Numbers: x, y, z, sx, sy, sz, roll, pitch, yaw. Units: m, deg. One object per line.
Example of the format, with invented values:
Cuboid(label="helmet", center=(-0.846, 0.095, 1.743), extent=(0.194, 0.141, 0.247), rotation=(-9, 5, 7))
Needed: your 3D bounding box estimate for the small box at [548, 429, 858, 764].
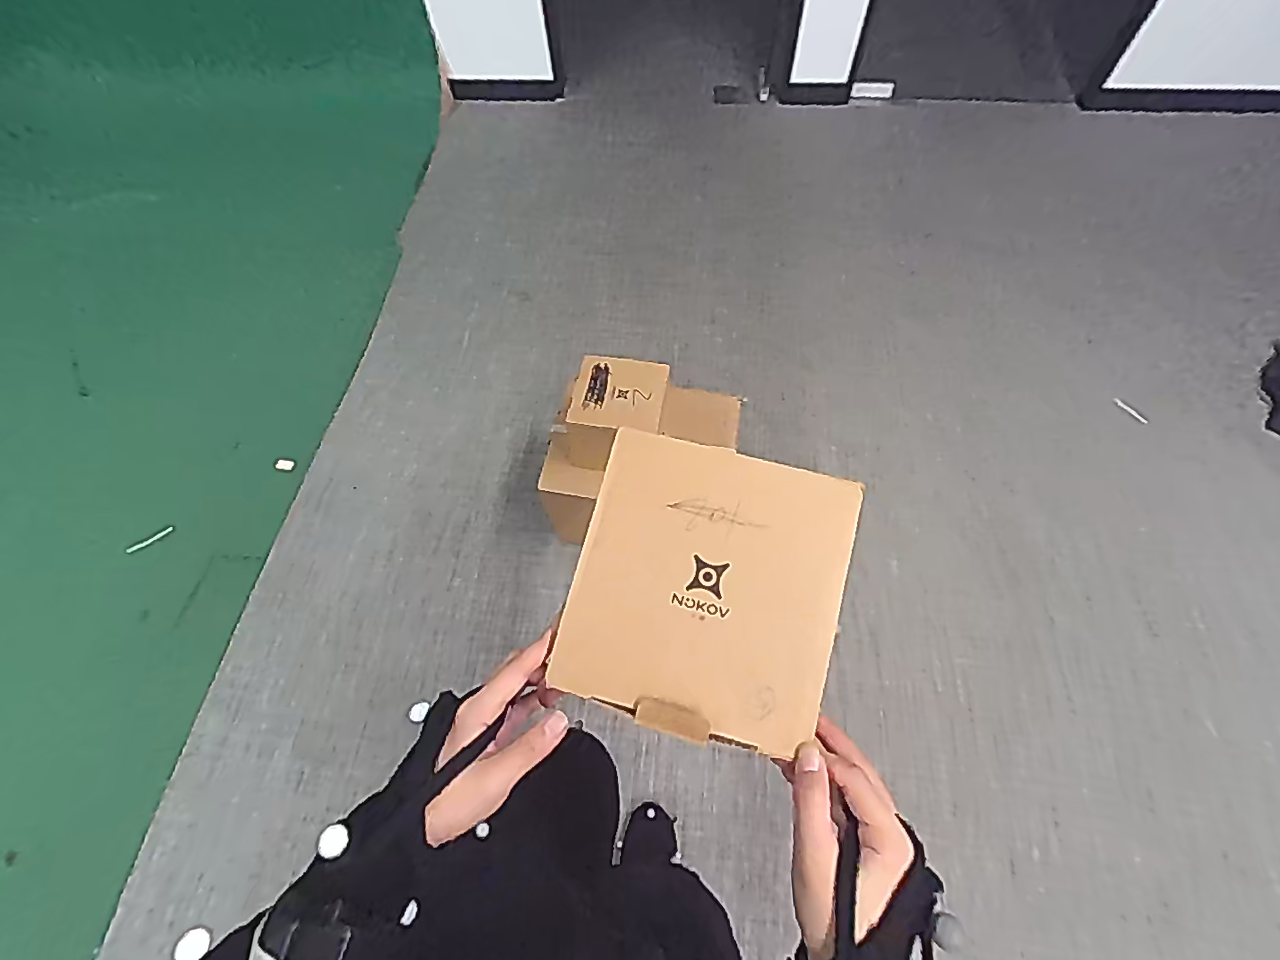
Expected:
Cuboid(label="small box", center=(0.047, 0.084, 0.417), extent=(0.168, 0.176, 0.179), rotation=(14, 77, 6))

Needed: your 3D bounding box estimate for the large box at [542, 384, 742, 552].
Cuboid(label="large box", center=(0.014, 0.004, 1.312), extent=(0.408, 0.320, 0.320), rotation=(9, 63, 6))
